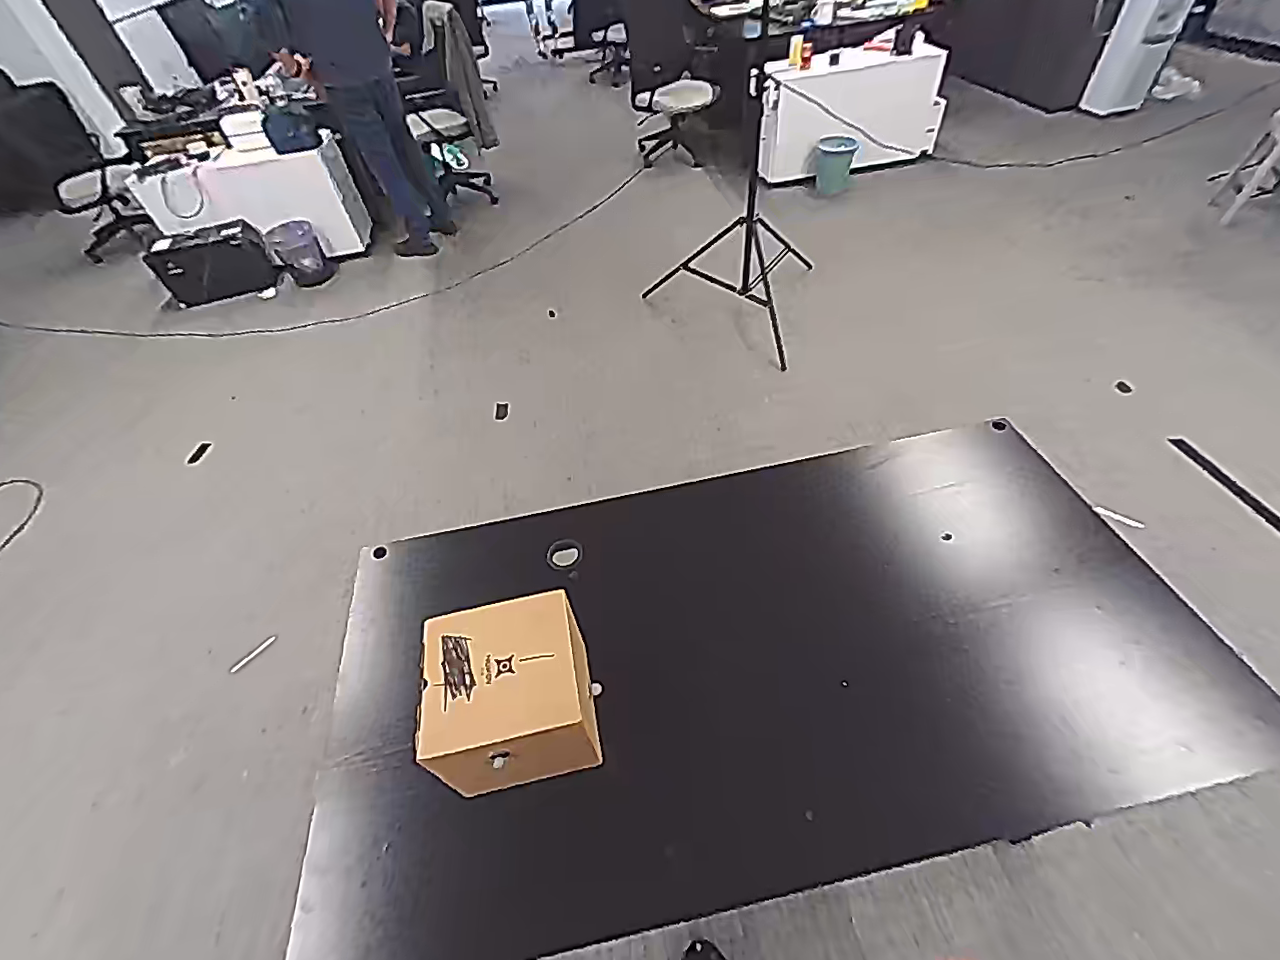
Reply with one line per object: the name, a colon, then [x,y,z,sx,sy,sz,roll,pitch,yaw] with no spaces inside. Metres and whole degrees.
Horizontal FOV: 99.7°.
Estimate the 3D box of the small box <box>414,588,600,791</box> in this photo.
small box: [-0.155,0.262,0.669,0.179,0.176,0.168,-12,49,-5]
